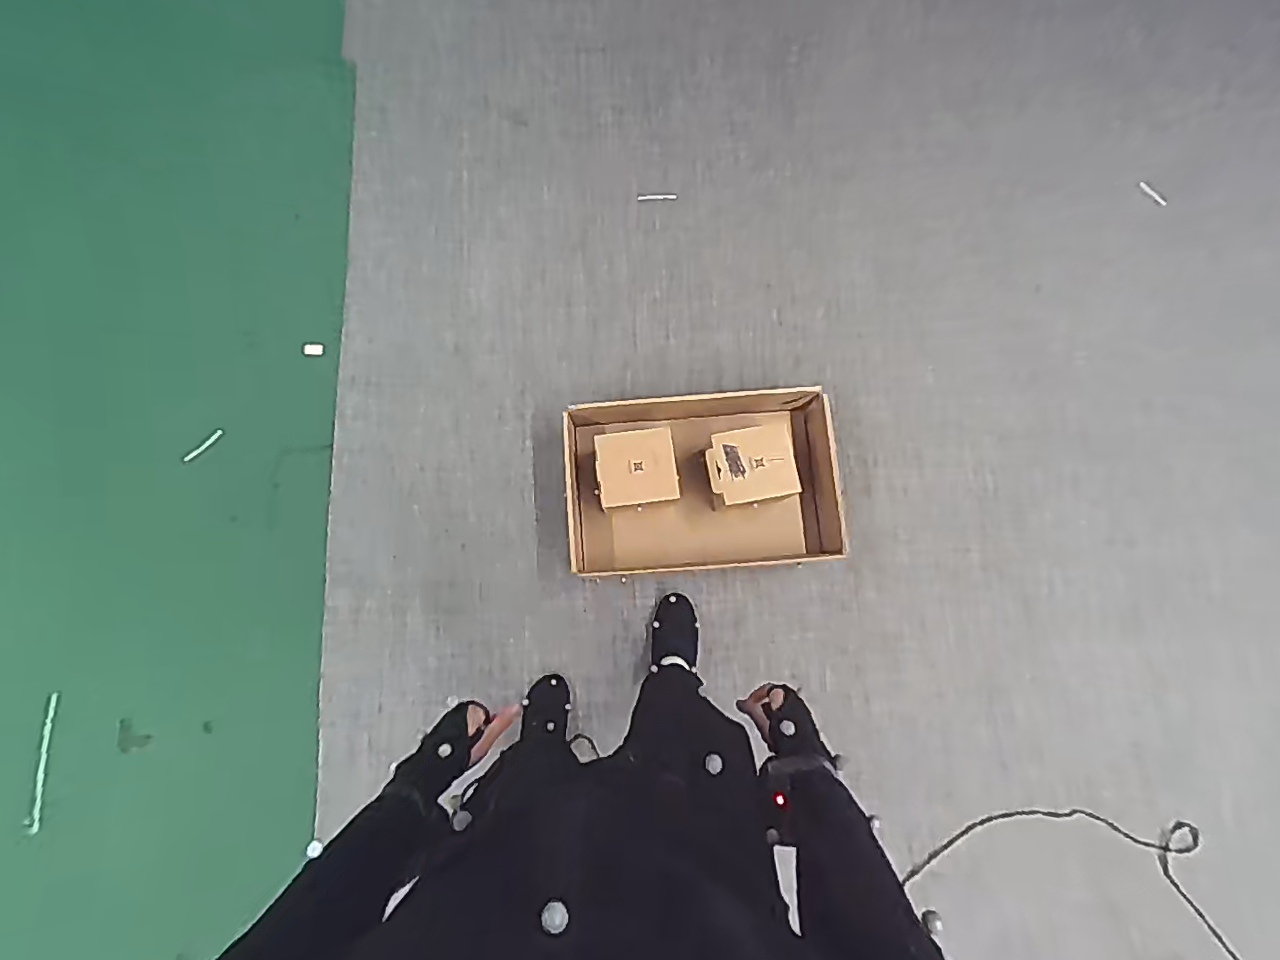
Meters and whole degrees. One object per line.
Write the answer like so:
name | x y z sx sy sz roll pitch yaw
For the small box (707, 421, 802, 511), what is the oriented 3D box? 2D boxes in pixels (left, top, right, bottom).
small box | 0.261 -0.026 1.277 0.179 0.176 0.168 -11 81 -1

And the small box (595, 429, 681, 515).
small box | -0.005 -0.012 1.278 0.179 0.176 0.168 -8 82 -2
